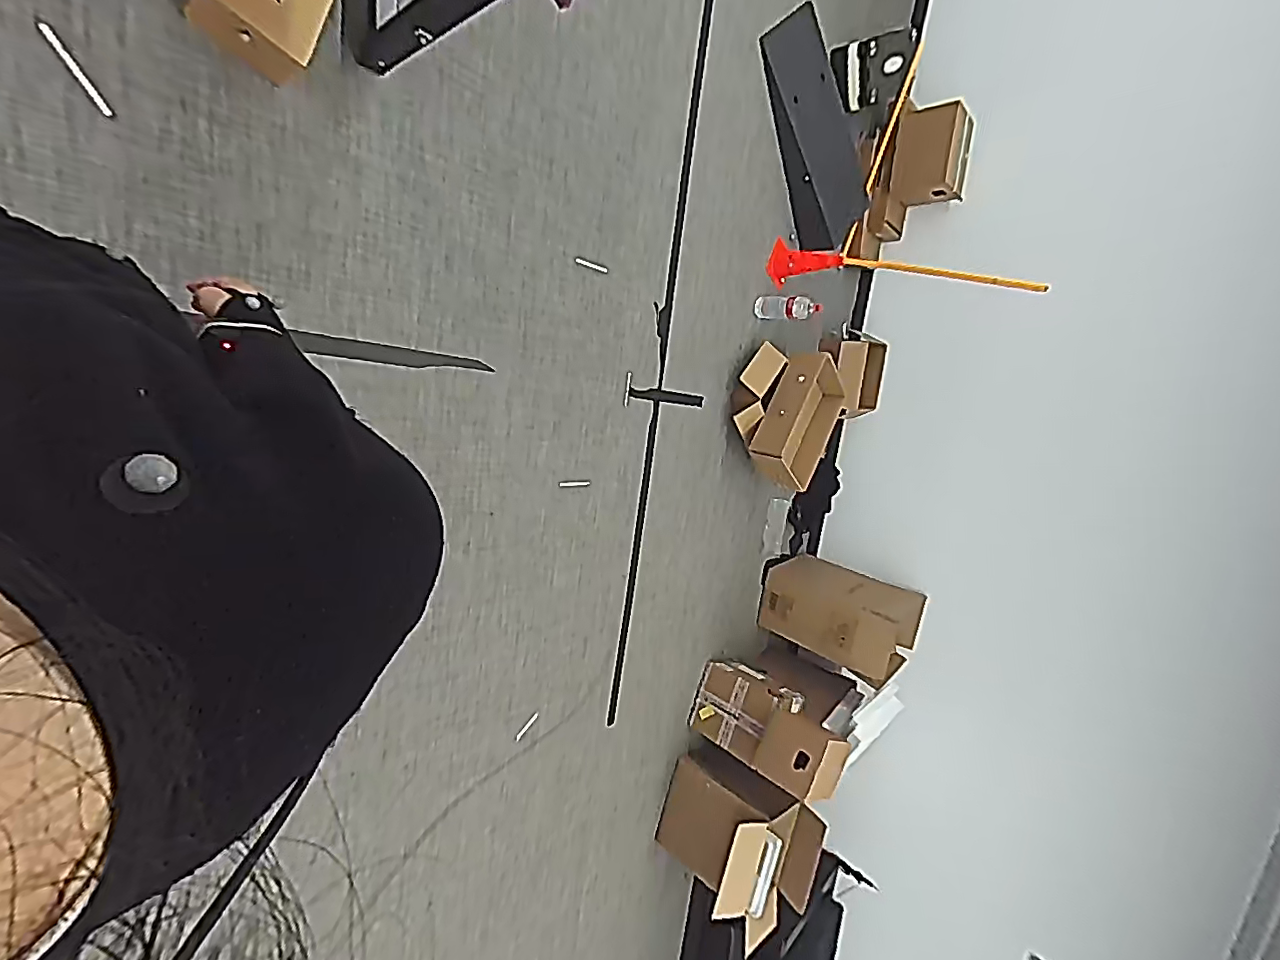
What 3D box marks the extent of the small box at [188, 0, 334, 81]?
[{"bbox_3d":[-0.749,-0.935,1.068,0.179,0.176,0.168,22,86,-48],"label":"small box"}]
